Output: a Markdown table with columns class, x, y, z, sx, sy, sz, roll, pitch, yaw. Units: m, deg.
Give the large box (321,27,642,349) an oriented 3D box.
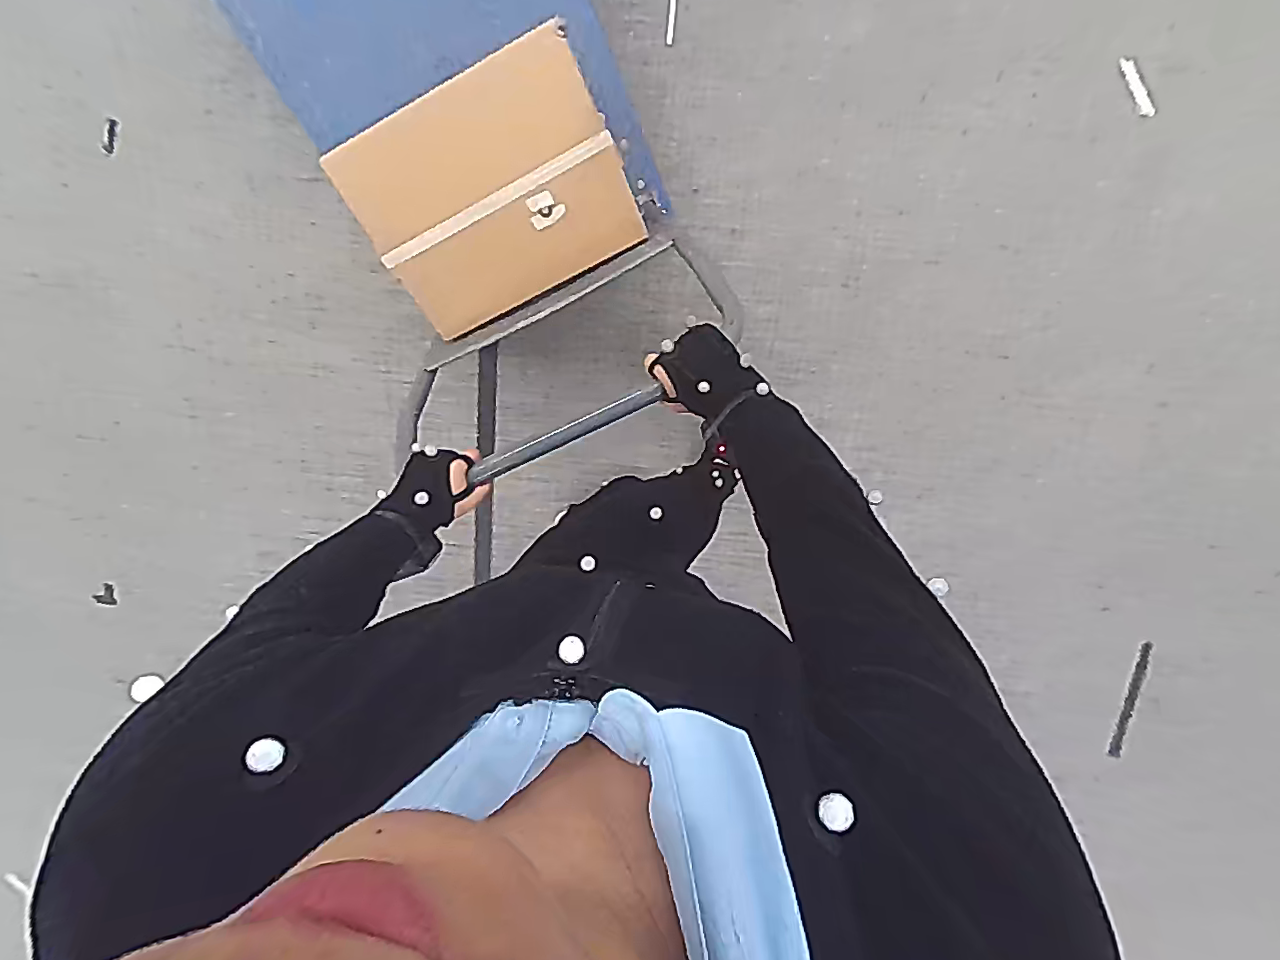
| class | x | y | z | sx | sy | sz | roll | pitch | yaw |
| --- | --- | --- | --- | --- | --- | --- | --- | --- | --- |
| large box | -0.256 | -0.504 | 0.975 | 0.408 | 0.320 | 0.320 | -26 | 123 | 7 |
